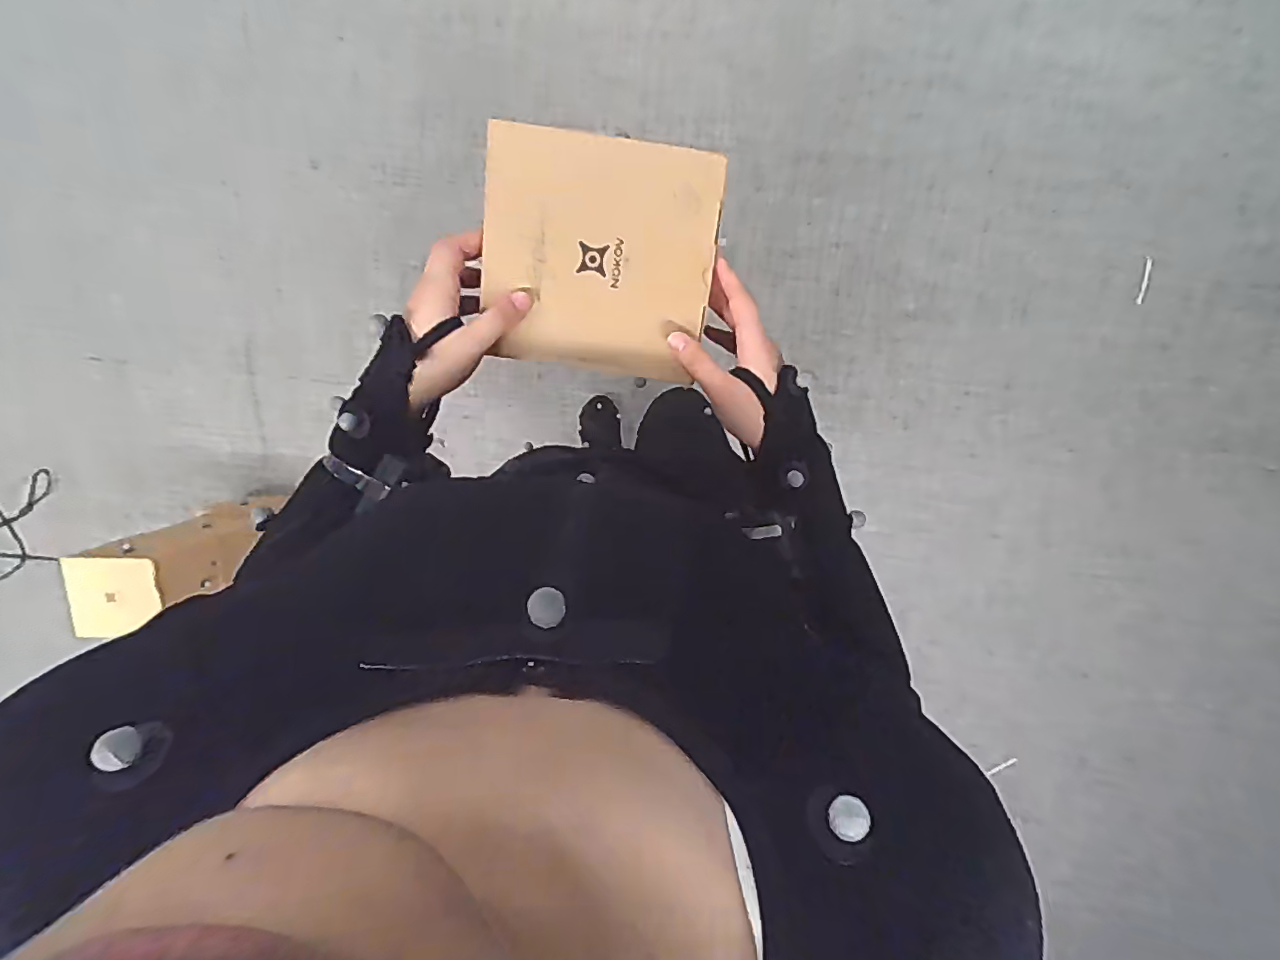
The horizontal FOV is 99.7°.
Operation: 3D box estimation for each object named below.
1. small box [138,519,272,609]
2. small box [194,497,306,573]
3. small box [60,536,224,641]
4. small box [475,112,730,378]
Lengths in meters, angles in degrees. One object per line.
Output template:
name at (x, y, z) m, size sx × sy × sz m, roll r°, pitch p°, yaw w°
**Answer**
small box at (-1.016, 0.192, 1.276) m, size 0.179 × 0.176 × 0.168 m, roll 1°, pitch 101°, yaw 0°
small box at (-1.018, 0.143, 1.433) m, size 0.179 × 0.176 × 0.168 m, roll -2°, pitch 100°, yaw 1°
small box at (-1.013, 0.217, 1.115) m, size 0.179 × 0.176 × 0.168 m, roll 0°, pitch 101°, yaw 0°
small box at (-0.031, -0.189, 0.477) m, size 0.179 × 0.176 × 0.168 m, roll 8°, pitch 105°, yaw 0°
